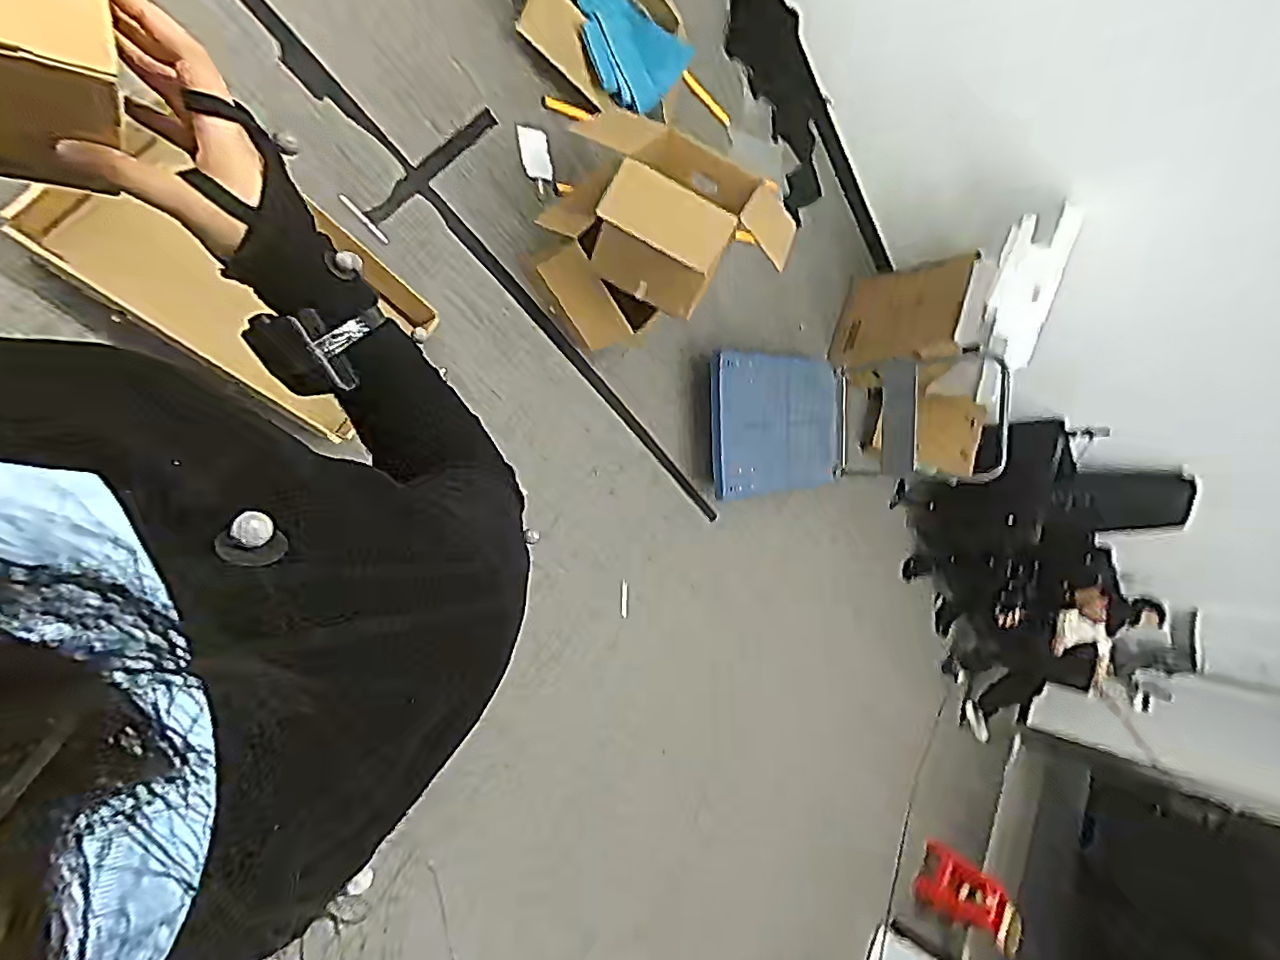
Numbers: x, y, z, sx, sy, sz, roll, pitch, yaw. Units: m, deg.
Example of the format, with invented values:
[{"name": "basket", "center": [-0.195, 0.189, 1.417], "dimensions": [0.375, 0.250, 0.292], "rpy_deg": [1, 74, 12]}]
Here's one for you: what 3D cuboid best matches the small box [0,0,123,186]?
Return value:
[{"name": "small box", "center": [-0.352, -0.259, 0.233], "dimensions": [0.168, 0.176, 0.179], "rpy_deg": [-11, 103, -43]}]
